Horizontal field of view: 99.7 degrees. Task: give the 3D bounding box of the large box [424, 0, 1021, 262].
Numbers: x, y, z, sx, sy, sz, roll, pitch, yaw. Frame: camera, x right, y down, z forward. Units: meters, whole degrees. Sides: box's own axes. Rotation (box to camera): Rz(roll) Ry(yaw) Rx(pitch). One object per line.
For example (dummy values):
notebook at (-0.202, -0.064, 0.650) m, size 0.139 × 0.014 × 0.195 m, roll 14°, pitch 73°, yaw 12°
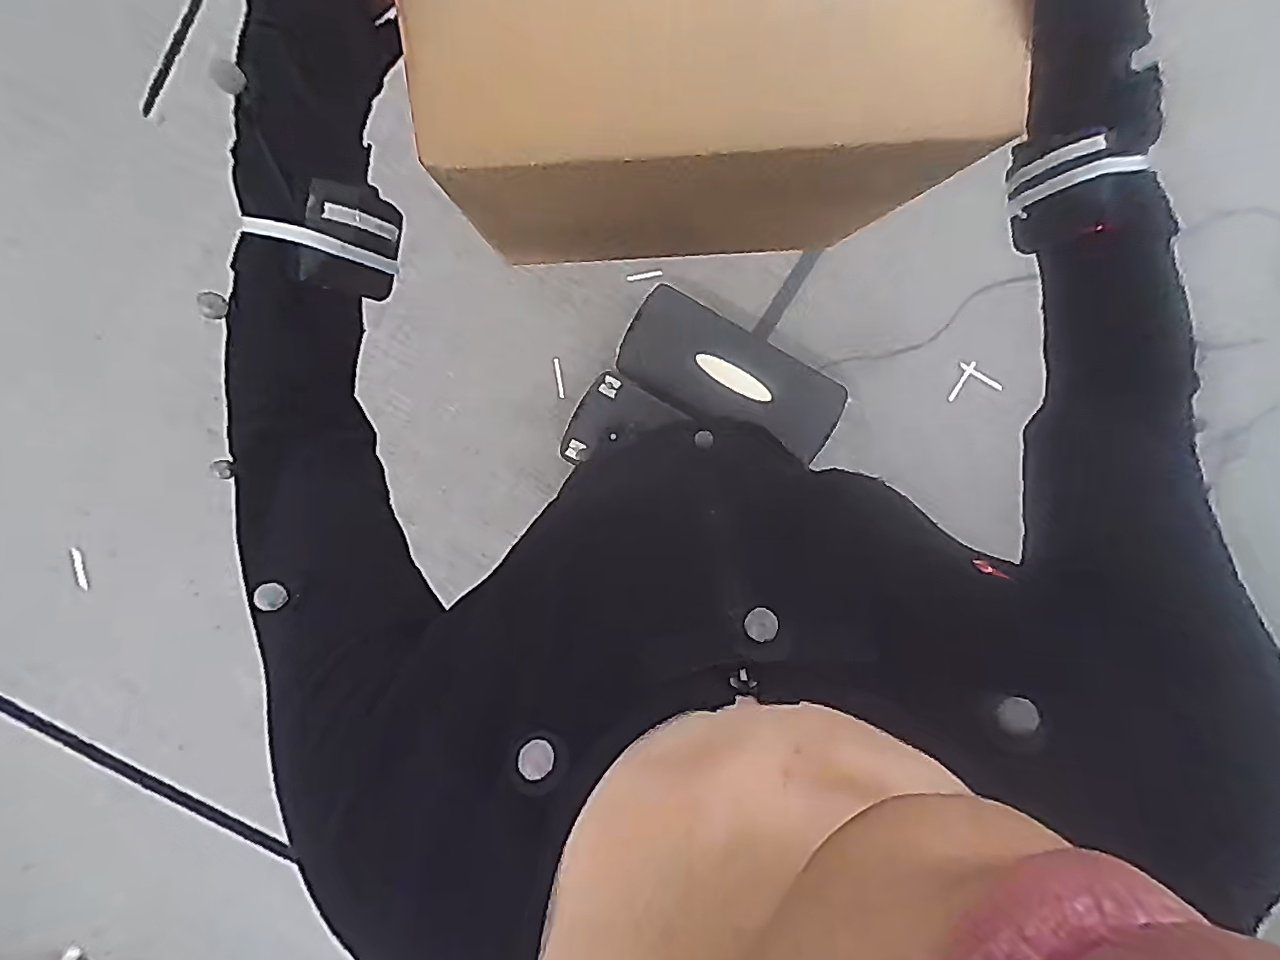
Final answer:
large box at (0.042, -0.403, 0.487) m, size 0.408 × 0.320 × 0.320 m, roll -5°, pitch 101°, yaw -4°
